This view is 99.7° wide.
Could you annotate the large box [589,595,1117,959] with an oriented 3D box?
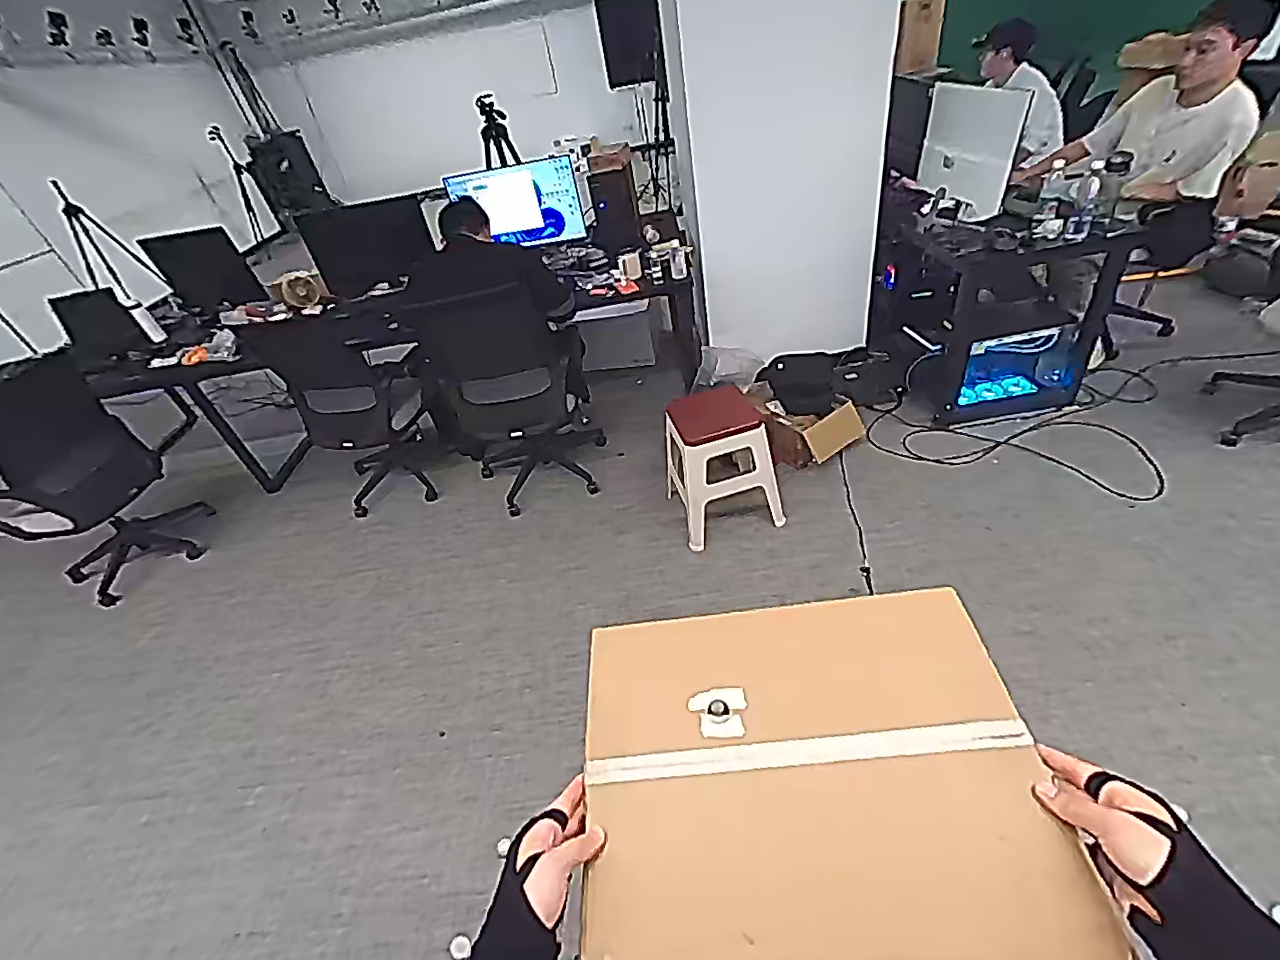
[{"bbox_3d":[0.178,0.370,0.617,0.408,0.320,0.320,-10,43,7],"label":"large box"}]
